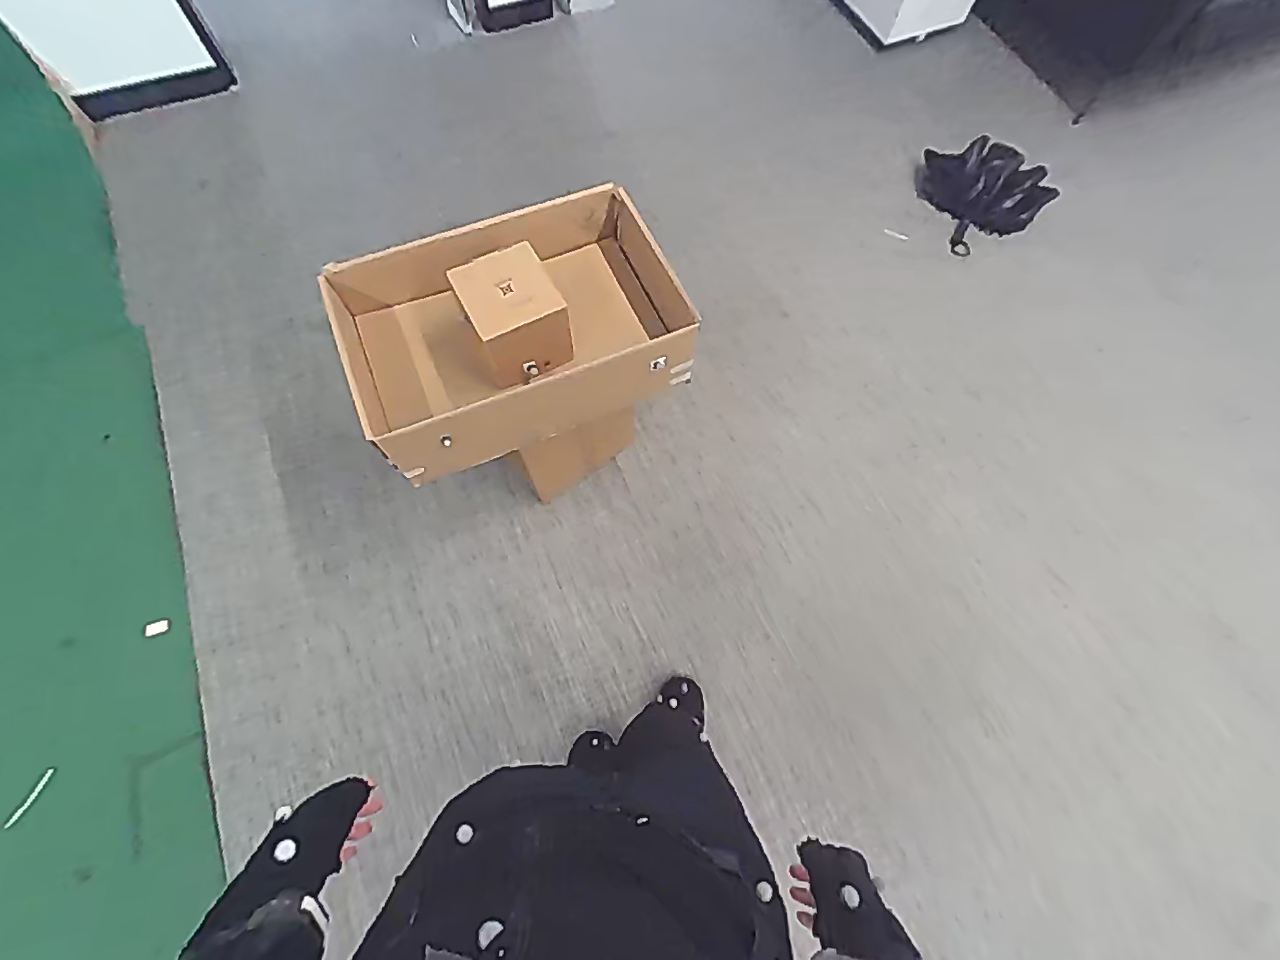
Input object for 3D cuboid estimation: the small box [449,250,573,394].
[{"bbox_3d":[-0.243,-0.302,1.051,0.168,0.176,0.179,-27,71,-12],"label":"small box"}]
